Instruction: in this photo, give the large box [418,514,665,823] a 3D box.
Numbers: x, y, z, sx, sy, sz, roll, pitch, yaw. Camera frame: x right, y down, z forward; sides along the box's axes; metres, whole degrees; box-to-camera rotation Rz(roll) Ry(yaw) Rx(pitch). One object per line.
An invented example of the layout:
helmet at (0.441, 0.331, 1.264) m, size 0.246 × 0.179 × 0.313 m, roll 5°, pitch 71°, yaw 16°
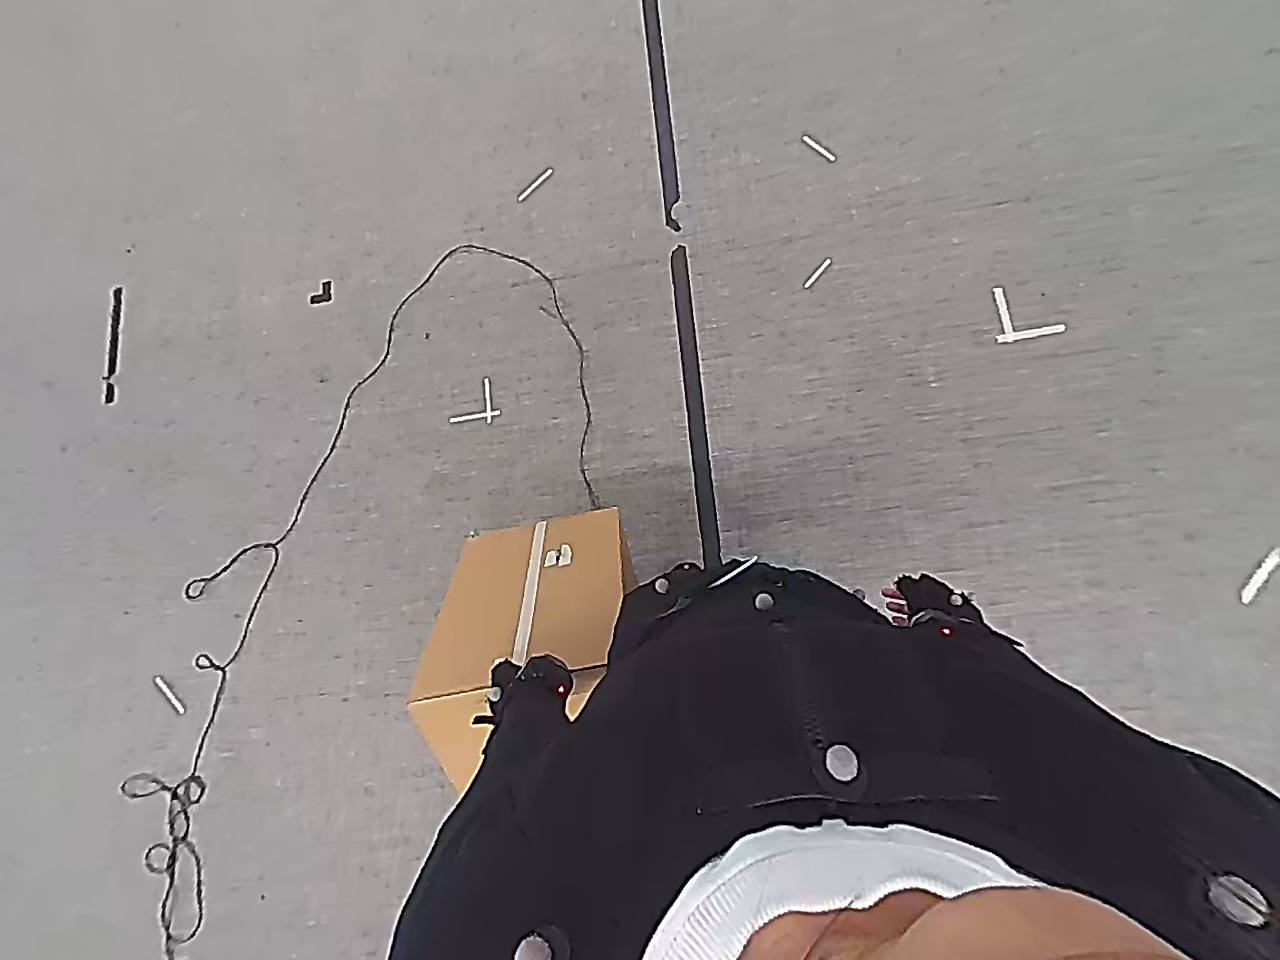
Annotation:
large box at (-0.150, 0.318, 0.988) m, size 0.320 × 0.408 × 0.320 m, roll -11°, pitch 118°, yaw 1°
